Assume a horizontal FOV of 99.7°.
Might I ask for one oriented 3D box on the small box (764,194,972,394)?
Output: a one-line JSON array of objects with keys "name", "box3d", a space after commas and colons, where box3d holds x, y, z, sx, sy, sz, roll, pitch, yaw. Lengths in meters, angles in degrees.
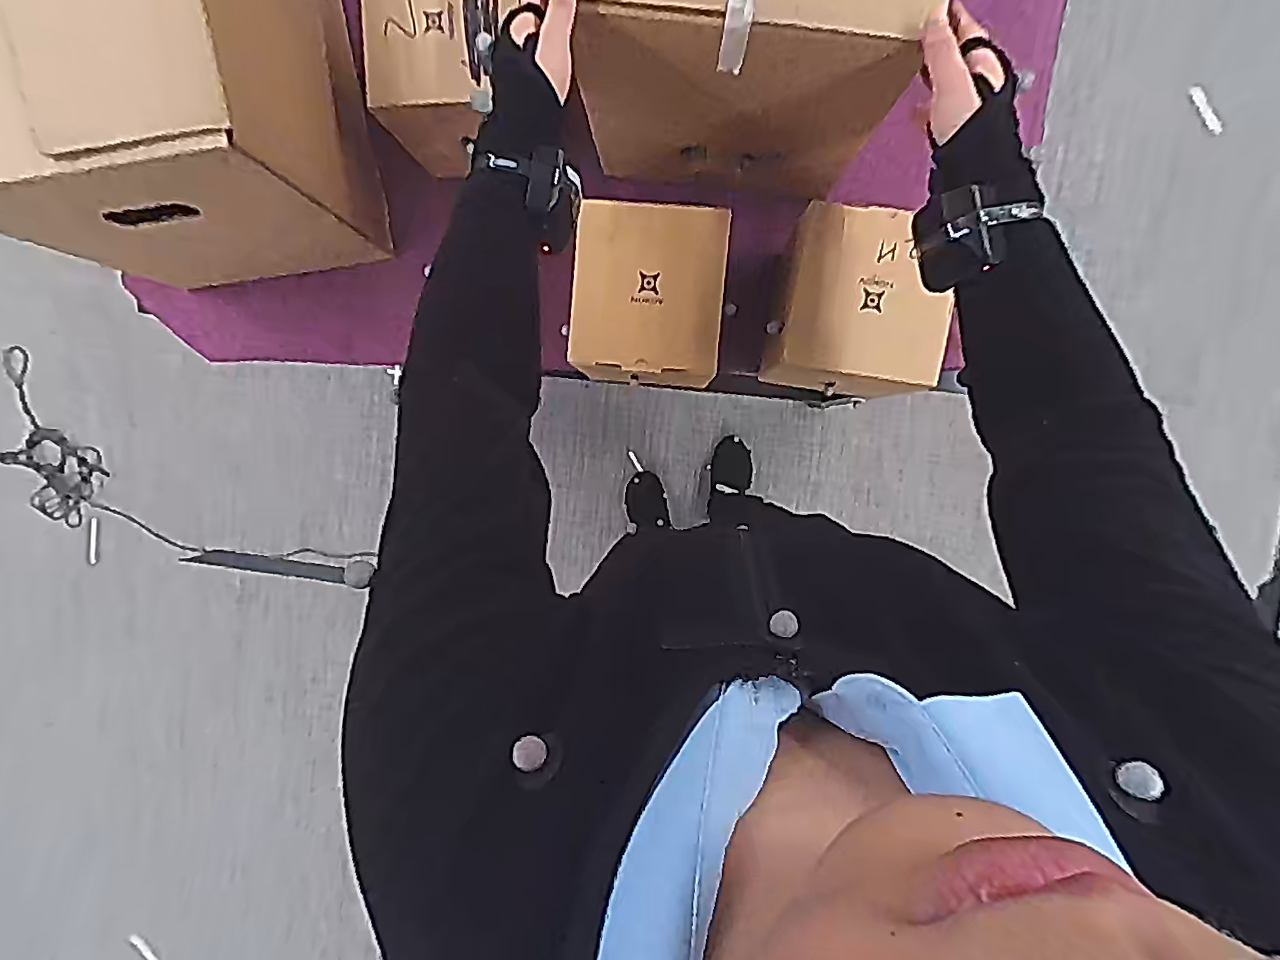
[{"name": "small box", "box3d": [0.250, -0.204, 0.642, 0.168, 0.176, 0.179, 10, 94, 3]}]
